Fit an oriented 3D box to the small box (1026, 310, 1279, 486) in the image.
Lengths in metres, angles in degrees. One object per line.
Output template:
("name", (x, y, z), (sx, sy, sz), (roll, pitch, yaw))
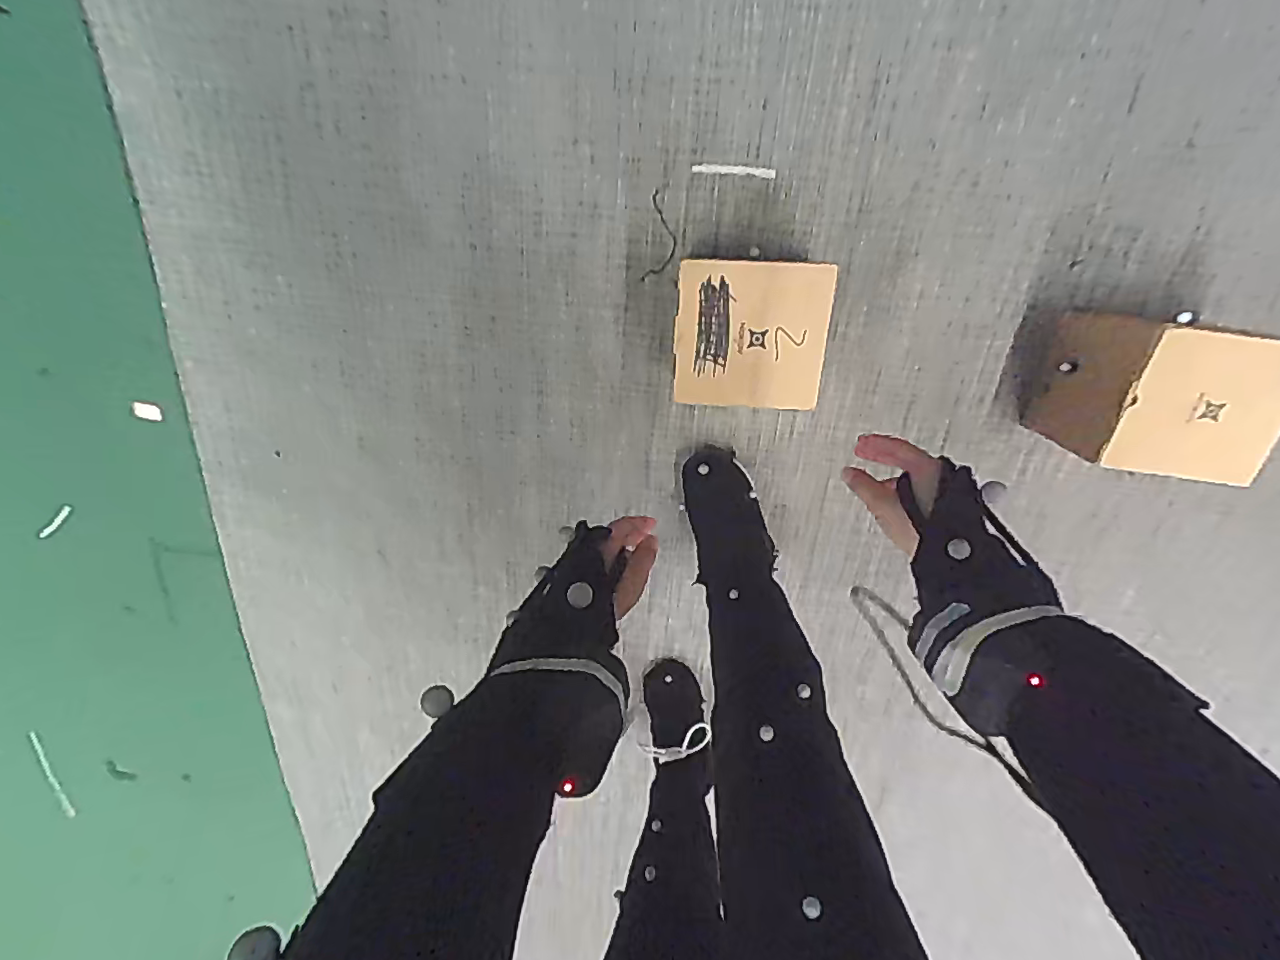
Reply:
("small box", (0.637, -0.110, 0.670), (0.179, 0.176, 0.168), (9, 114, 4))
